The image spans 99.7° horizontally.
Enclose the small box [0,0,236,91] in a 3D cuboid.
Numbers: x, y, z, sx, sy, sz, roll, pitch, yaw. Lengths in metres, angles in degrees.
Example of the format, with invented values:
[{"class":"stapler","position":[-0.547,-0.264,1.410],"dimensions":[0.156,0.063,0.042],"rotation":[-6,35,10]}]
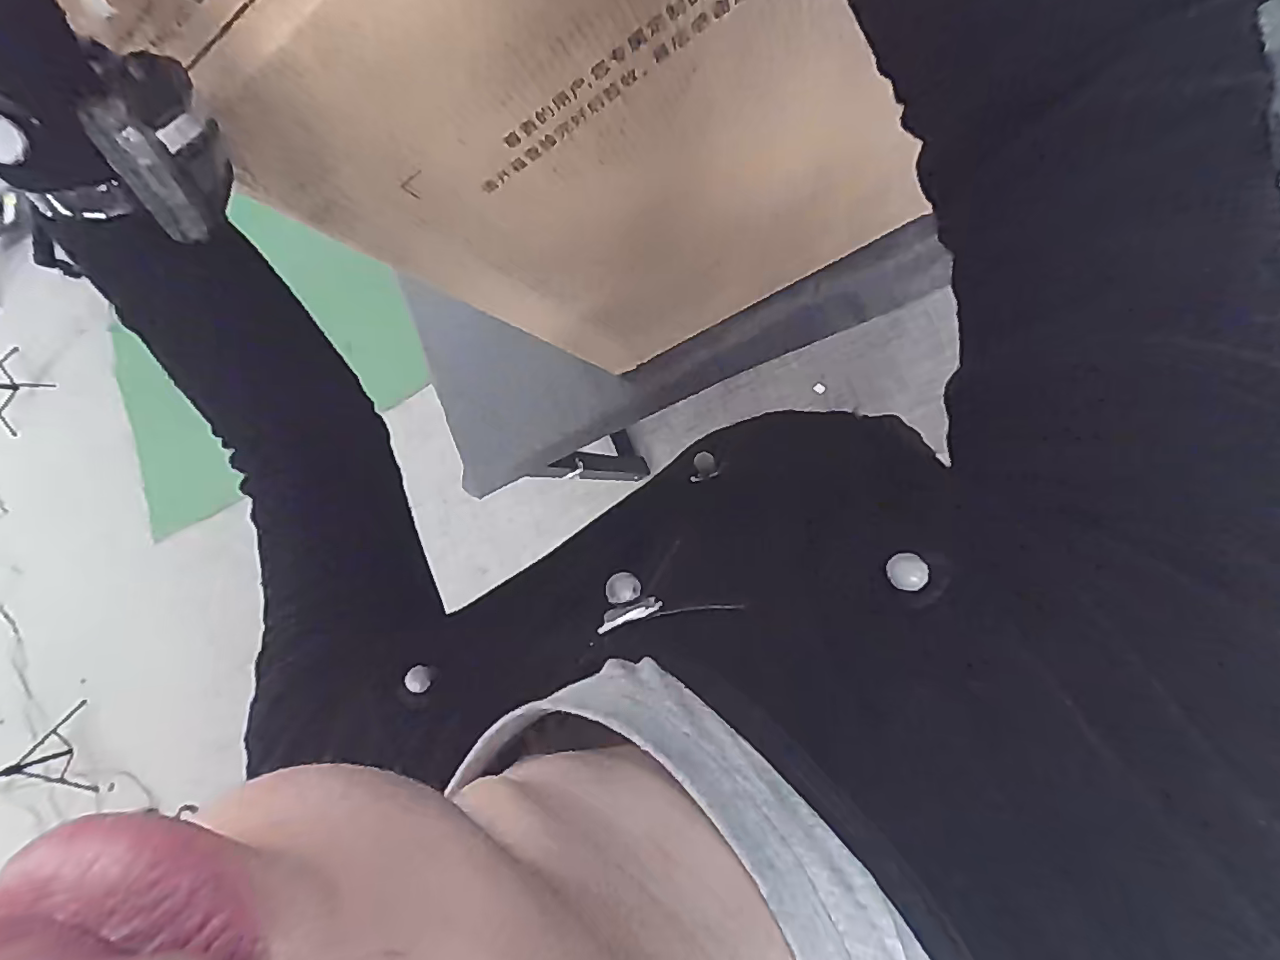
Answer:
[{"class":"small box","position":[-0.283,-0.311,0.222],"dimensions":[0.168,0.176,0.179],"rotation":[-20,81,22]}]
